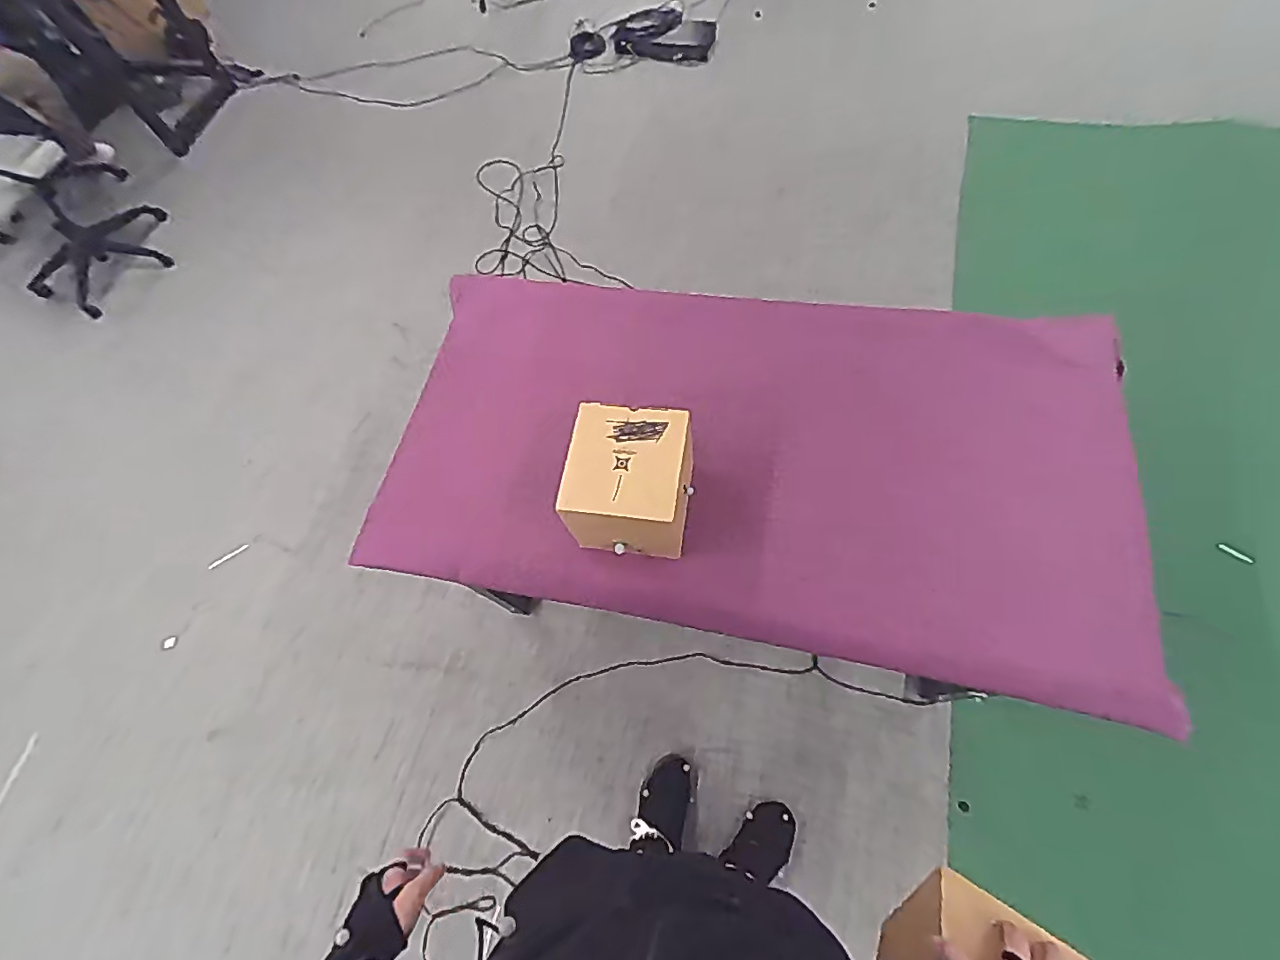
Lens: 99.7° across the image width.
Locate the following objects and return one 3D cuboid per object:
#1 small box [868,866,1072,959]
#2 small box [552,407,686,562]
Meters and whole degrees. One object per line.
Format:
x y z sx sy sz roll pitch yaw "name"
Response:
0.367 0.607 0.612 0.168 0.176 0.179 28 30 20 "small box"
-0.020 0.011 0.835 0.168 0.176 0.179 6 66 10 "small box"
